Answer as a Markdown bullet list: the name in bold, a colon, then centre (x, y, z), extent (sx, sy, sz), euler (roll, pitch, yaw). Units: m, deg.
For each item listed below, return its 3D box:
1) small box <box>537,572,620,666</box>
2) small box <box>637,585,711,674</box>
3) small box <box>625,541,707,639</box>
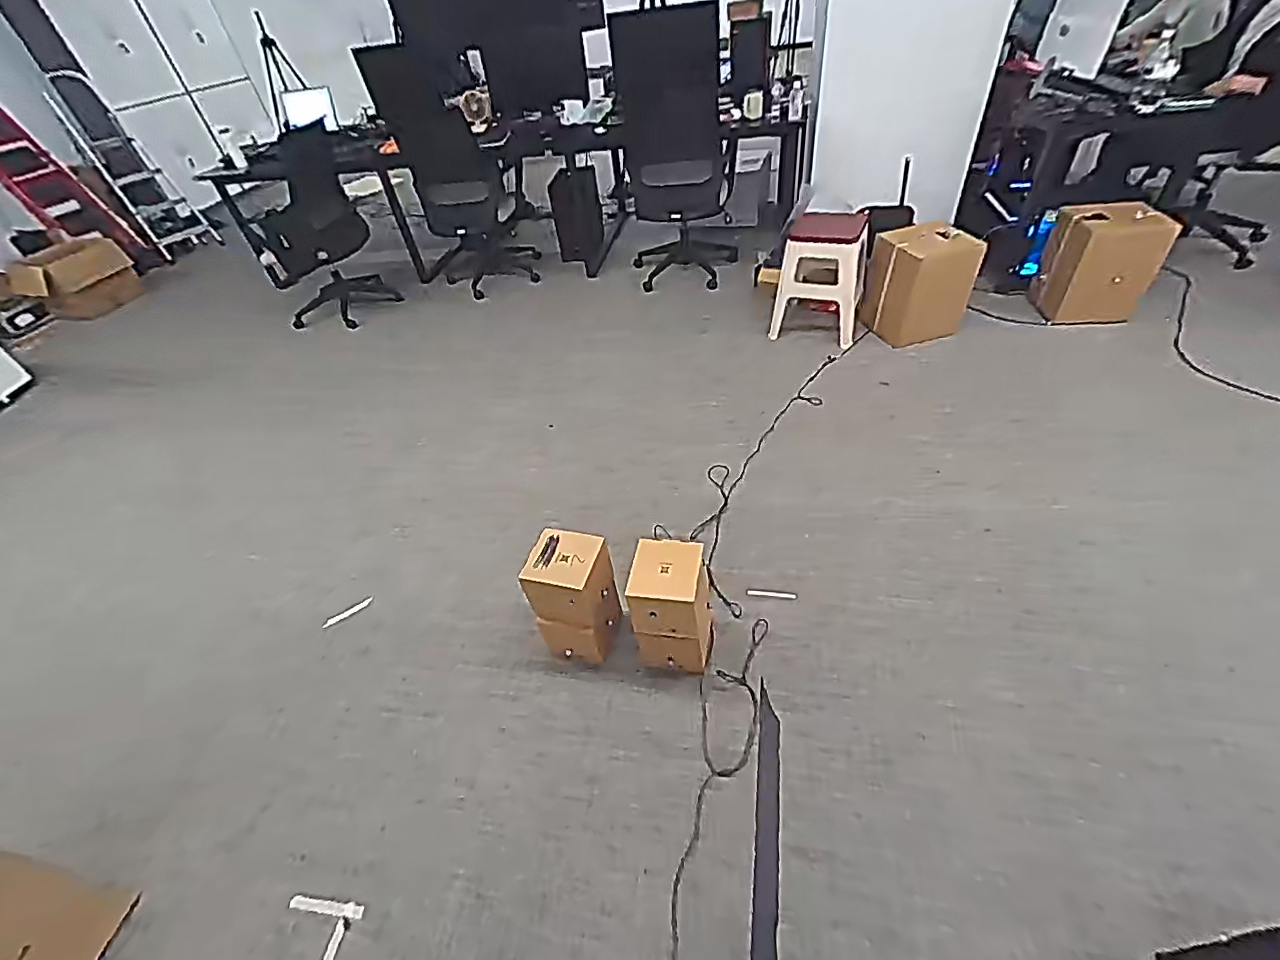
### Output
- **small box**: centre (-0.162, 0.386, 1.504), extent (0.168, 0.176, 0.179), euler (7, 46, 17)
- **small box**: centre (0.097, 0.393, 1.449), extent (0.168, 0.176, 0.179), euler (2, 44, 15)
- **small box**: centre (0.073, 0.274, 1.340), extent (0.168, 0.176, 0.179), euler (2, 43, 14)
